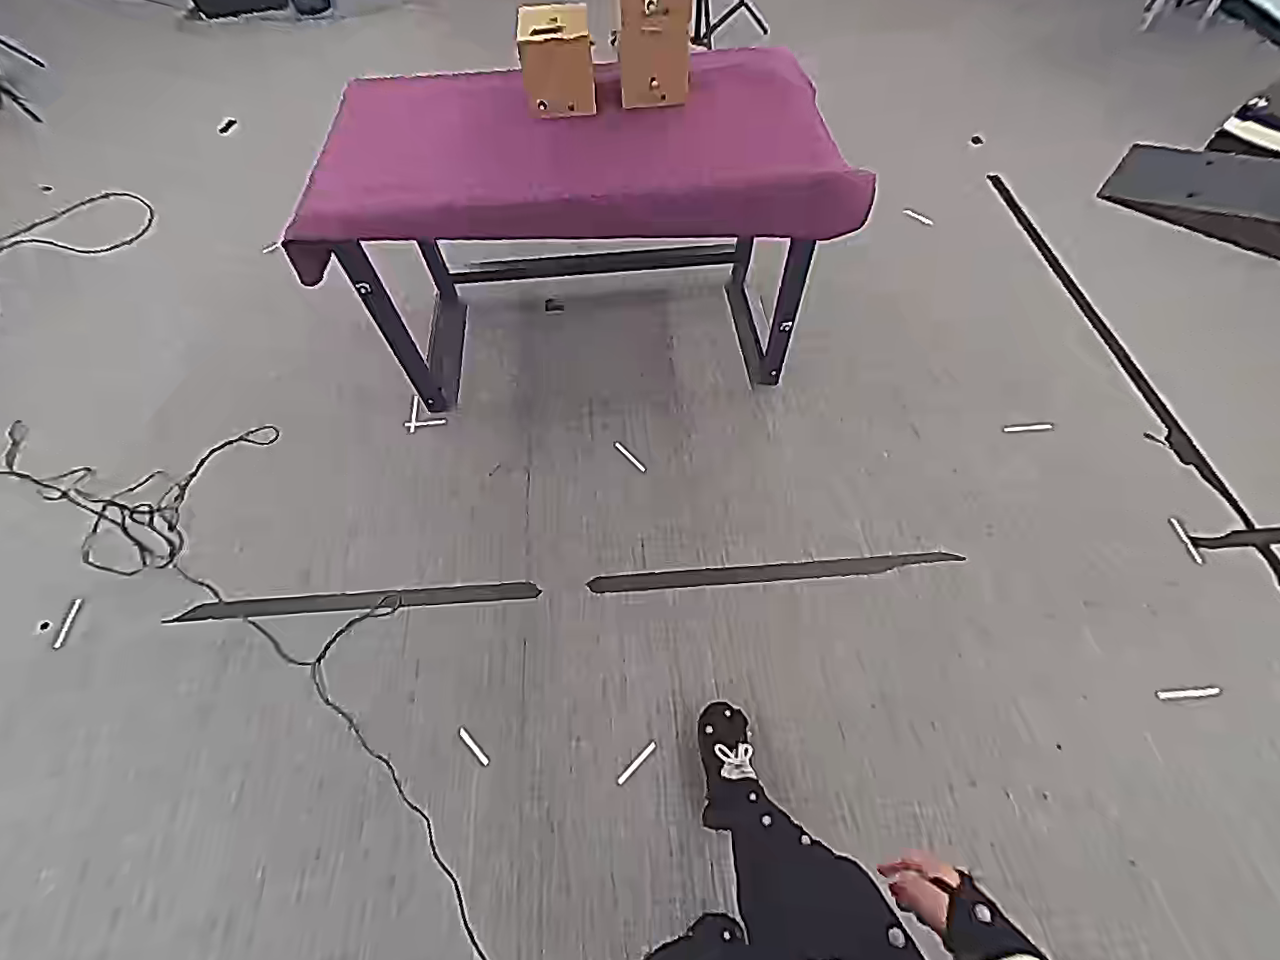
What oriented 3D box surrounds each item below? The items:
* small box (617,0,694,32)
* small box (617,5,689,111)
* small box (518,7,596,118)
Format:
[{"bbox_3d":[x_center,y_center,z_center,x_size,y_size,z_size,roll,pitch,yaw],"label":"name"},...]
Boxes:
[{"bbox_3d":[0.030,-1.142,1.208,0.168,0.176,0.179,-7,61,-1],"label":"small box"},{"bbox_3d":[0.029,-1.056,1.346,0.168,0.176,0.179,-5,61,0],"label":"small box"},{"bbox_3d":[-0.199,-1.021,1.334,0.168,0.176,0.179,-4,60,-1],"label":"small box"}]
